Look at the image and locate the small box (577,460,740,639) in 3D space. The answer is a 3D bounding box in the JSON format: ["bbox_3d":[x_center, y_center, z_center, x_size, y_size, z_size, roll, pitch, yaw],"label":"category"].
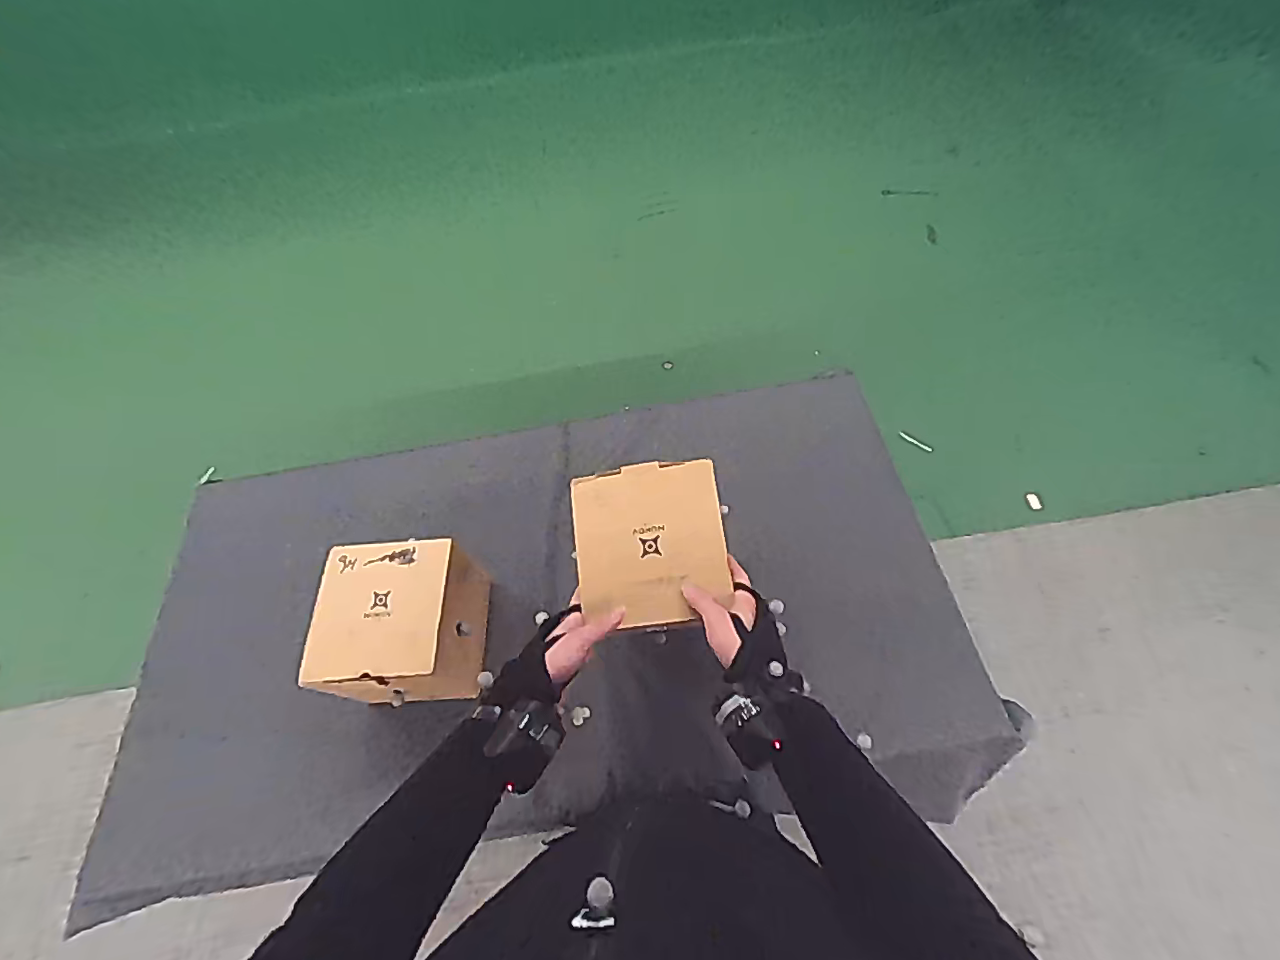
[{"bbox_3d":[0.023,0.092,0.653,0.168,0.176,0.179,-7,71,6],"label":"small box"}]

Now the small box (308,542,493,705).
[{"bbox_3d":[-0.311,0.205,0.745,0.168,0.176,0.179,-7,59,3],"label":"small box"}]
